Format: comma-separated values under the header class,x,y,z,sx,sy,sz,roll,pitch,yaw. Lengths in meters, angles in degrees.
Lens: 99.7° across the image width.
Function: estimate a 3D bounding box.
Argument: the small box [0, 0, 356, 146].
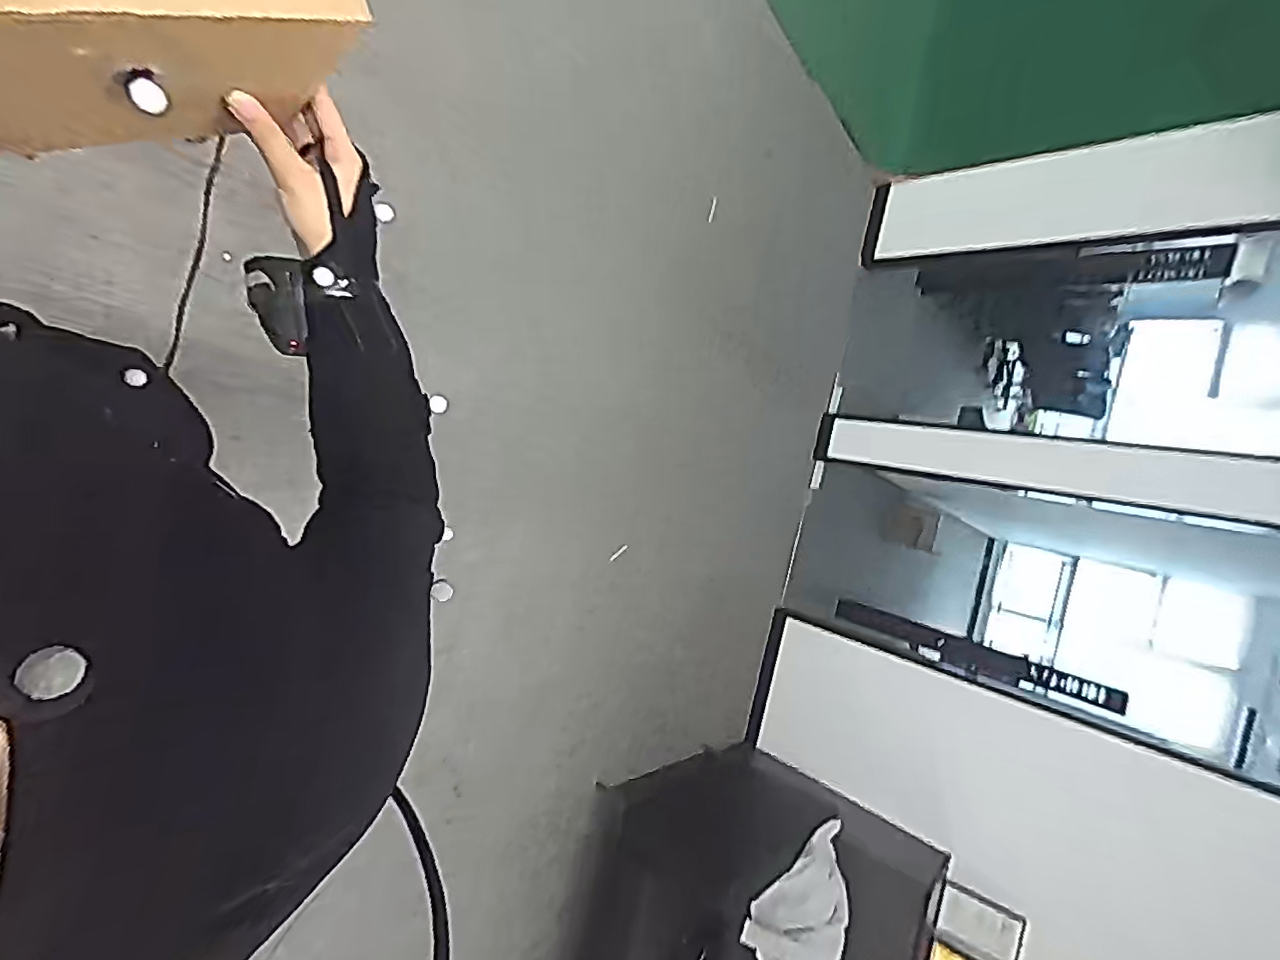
class,x,y,z,sx,sy,sz,roll,pitch,yaw
small box,-0.286,-0.286,0.265,0.179,0.176,0.168,-38,122,-37
